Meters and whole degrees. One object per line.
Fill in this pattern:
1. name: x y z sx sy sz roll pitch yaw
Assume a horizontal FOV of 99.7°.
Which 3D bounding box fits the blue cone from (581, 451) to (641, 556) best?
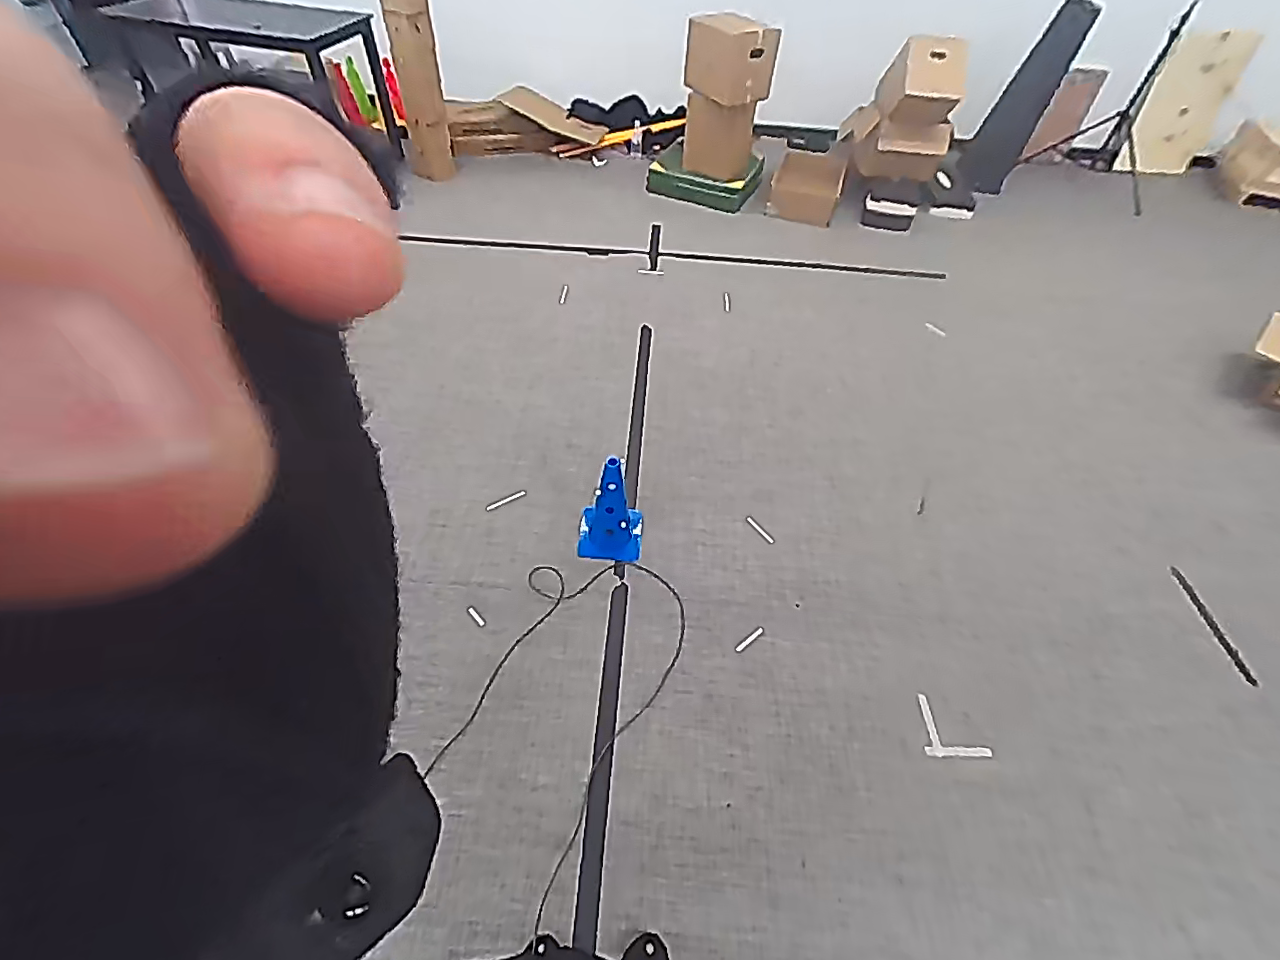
1. blue cone: -0.087 0.058 1.617 0.193 0.380 0.192 3 51 0
